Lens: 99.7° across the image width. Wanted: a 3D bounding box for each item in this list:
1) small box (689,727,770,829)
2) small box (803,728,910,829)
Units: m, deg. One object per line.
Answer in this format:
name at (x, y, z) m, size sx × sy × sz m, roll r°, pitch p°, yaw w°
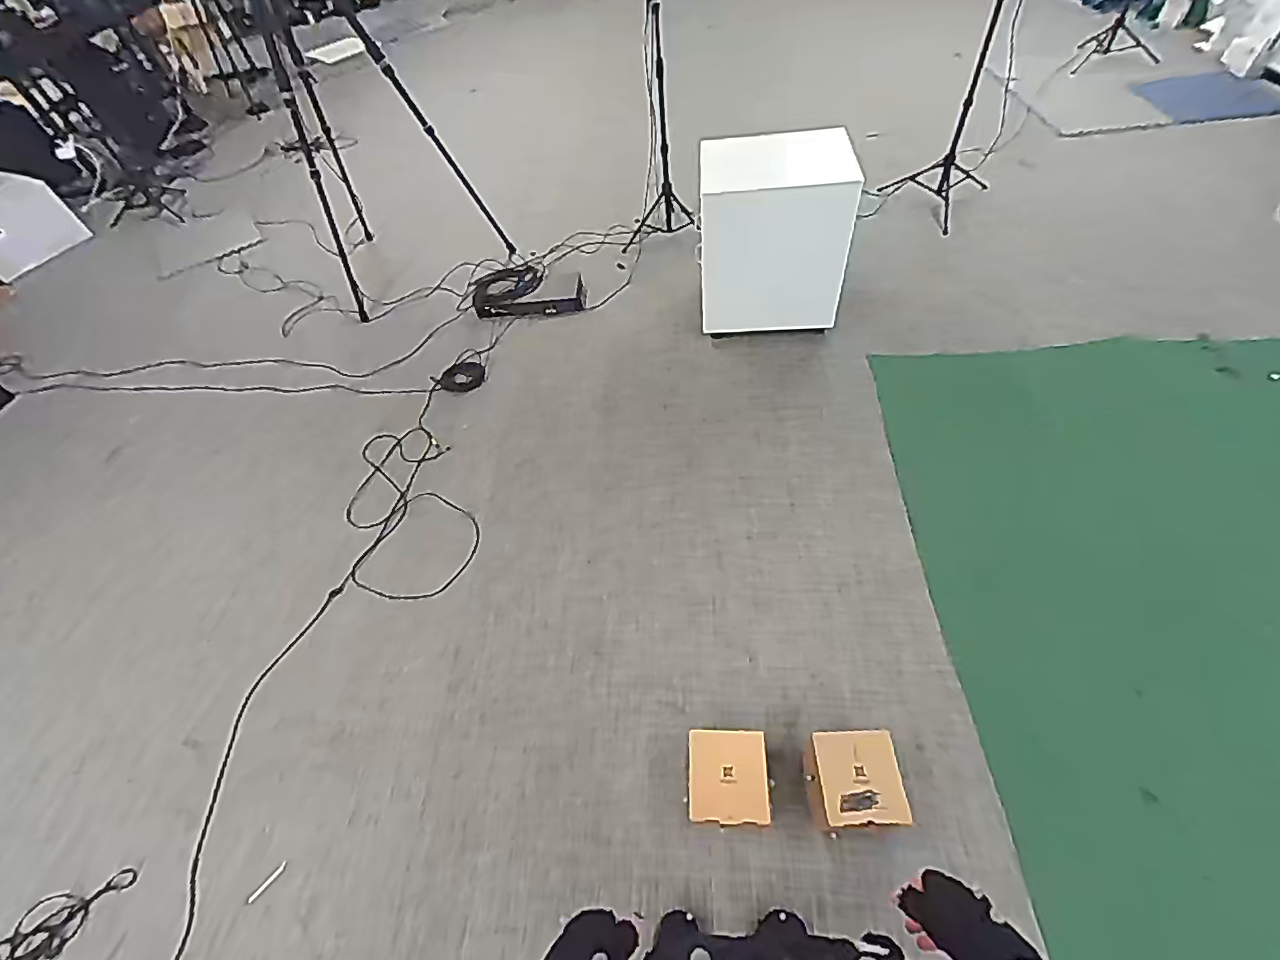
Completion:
small box at (0.194, 0.668, 1.209) m, size 0.168 × 0.176 × 0.179 m, roll -1°, pitch 54°, yaw 6°
small box at (0.461, 0.656, 1.180) m, size 0.168 × 0.176 × 0.179 m, roll -4°, pitch 53°, yaw 5°
